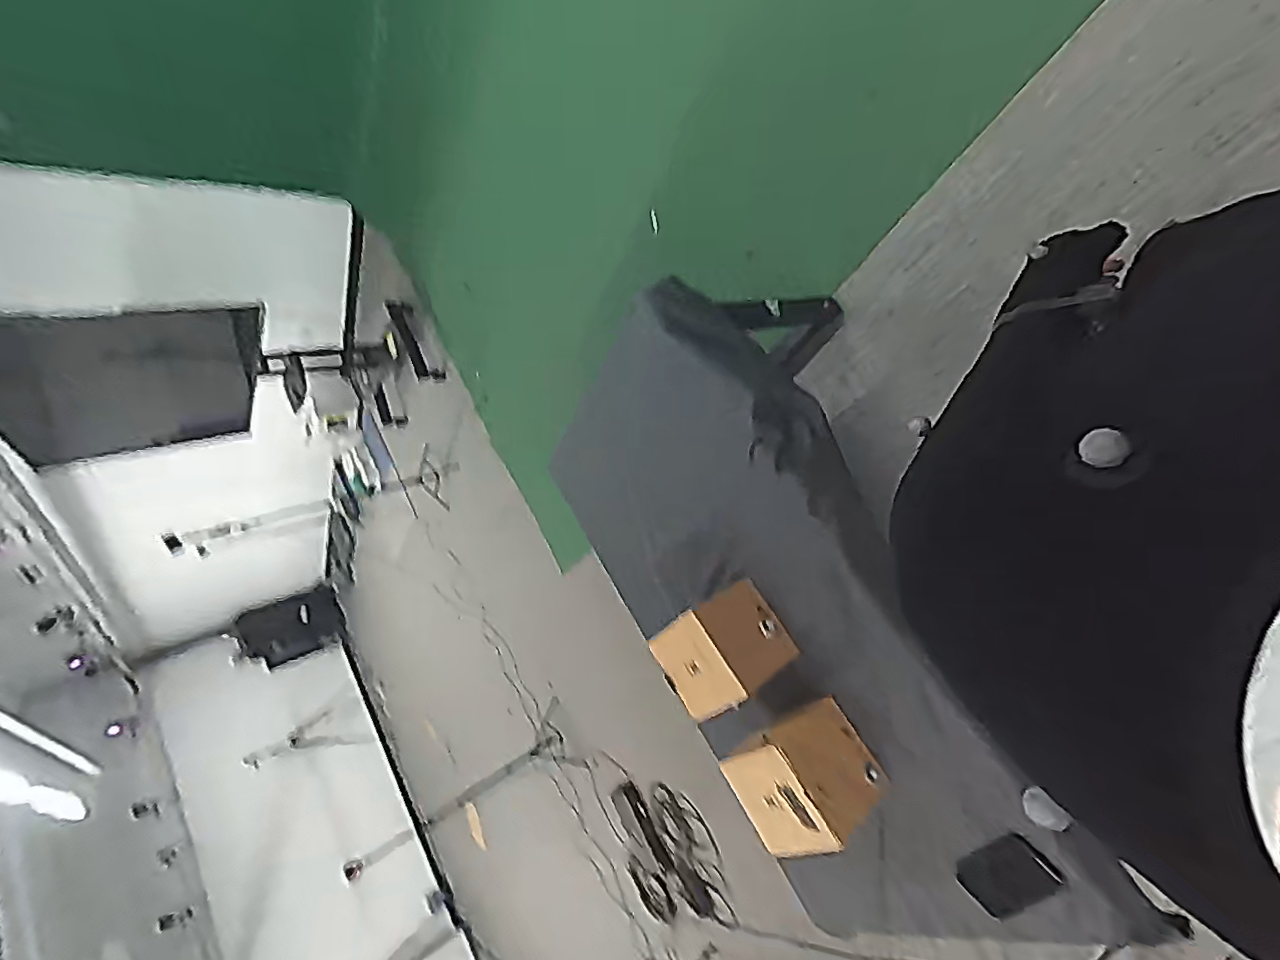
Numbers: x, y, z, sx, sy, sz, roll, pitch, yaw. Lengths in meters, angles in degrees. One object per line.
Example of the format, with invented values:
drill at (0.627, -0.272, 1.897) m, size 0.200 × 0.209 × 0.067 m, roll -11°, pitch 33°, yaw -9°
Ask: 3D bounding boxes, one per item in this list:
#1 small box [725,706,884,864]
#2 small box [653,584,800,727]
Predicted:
small box at (0.288, 0.519, 0.930) m, size 0.168 × 0.176 × 0.179 m, roll 56°, pitch 139°, yaw 18°
small box at (0.161, 0.324, 1.009) m, size 0.168 × 0.176 × 0.179 m, roll 54°, pitch 136°, yaw 18°
